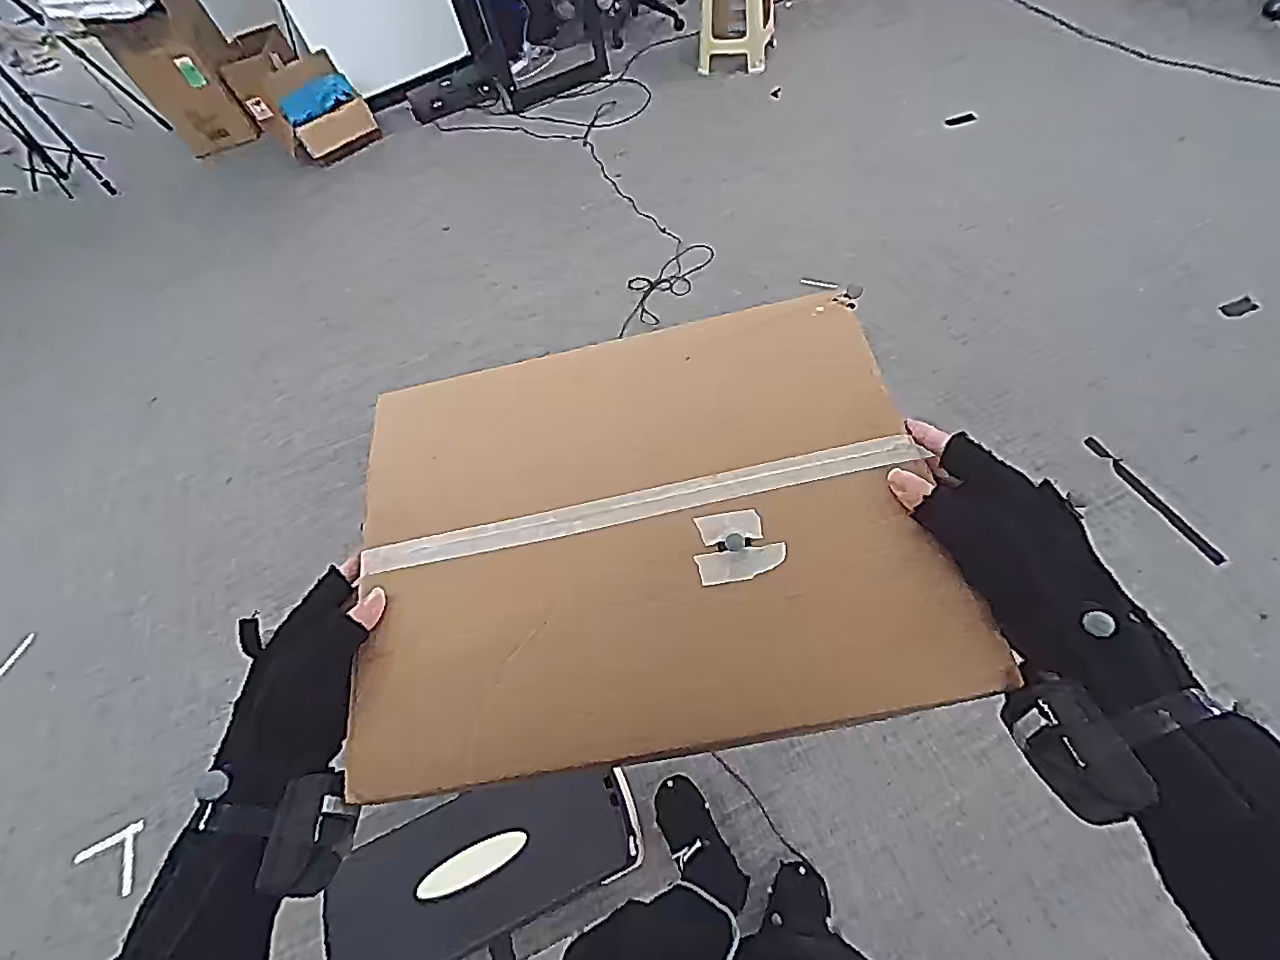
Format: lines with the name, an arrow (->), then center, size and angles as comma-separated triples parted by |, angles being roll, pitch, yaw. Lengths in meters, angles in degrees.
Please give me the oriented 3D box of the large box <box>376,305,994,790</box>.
large box -> 0.019, 0.090, 0.535 | 0.408, 0.320, 0.320 | -12, 63, 3
